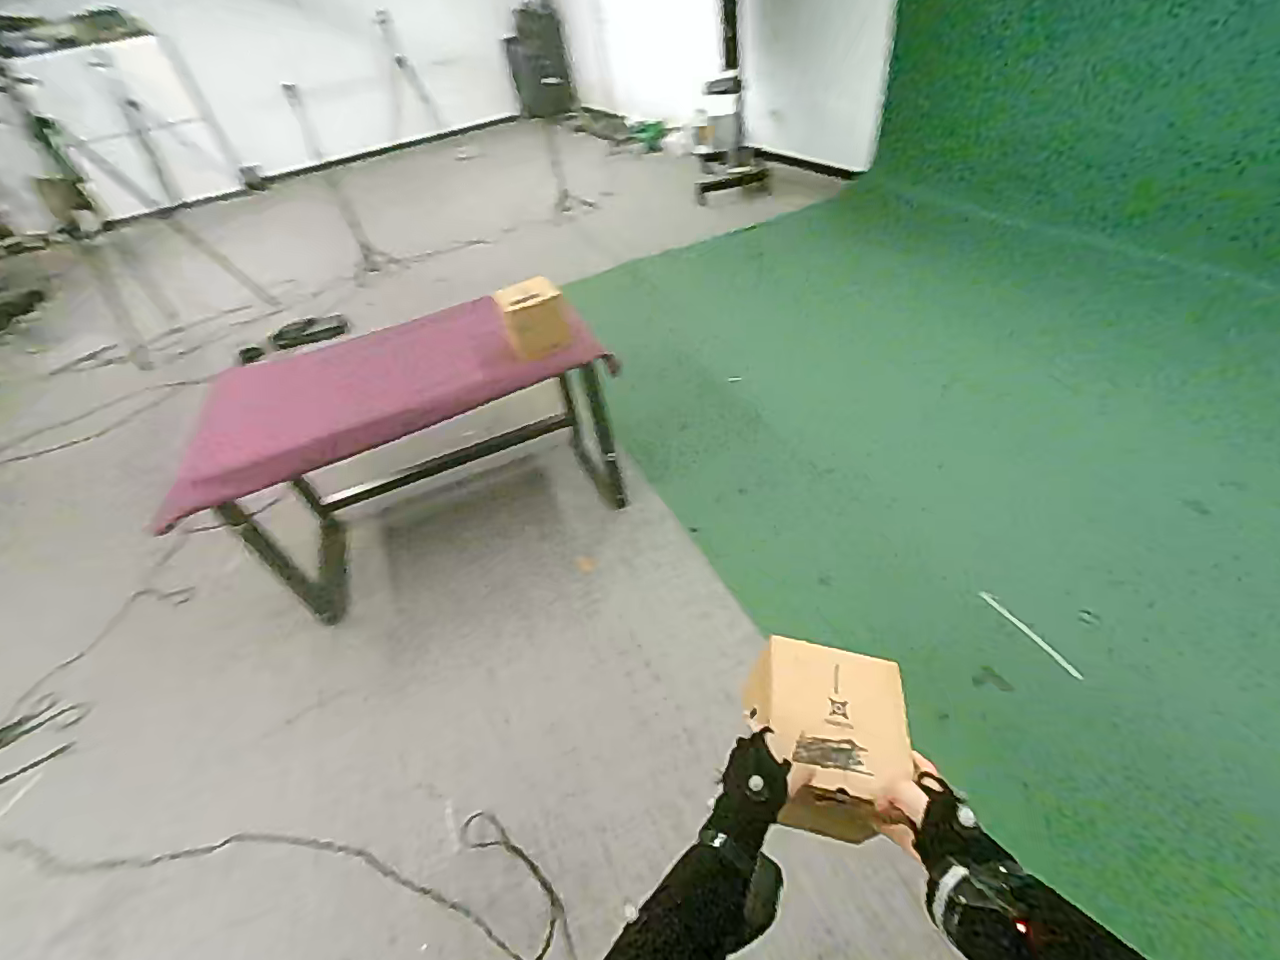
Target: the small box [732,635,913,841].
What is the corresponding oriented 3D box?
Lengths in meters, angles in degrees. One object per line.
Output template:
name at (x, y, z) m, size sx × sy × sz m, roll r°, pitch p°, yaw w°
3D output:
small box at (0.218, 0.331, 0.688) m, size 0.168 × 0.176 × 0.179 m, roll 12°, pitch 45°, yaw 4°
